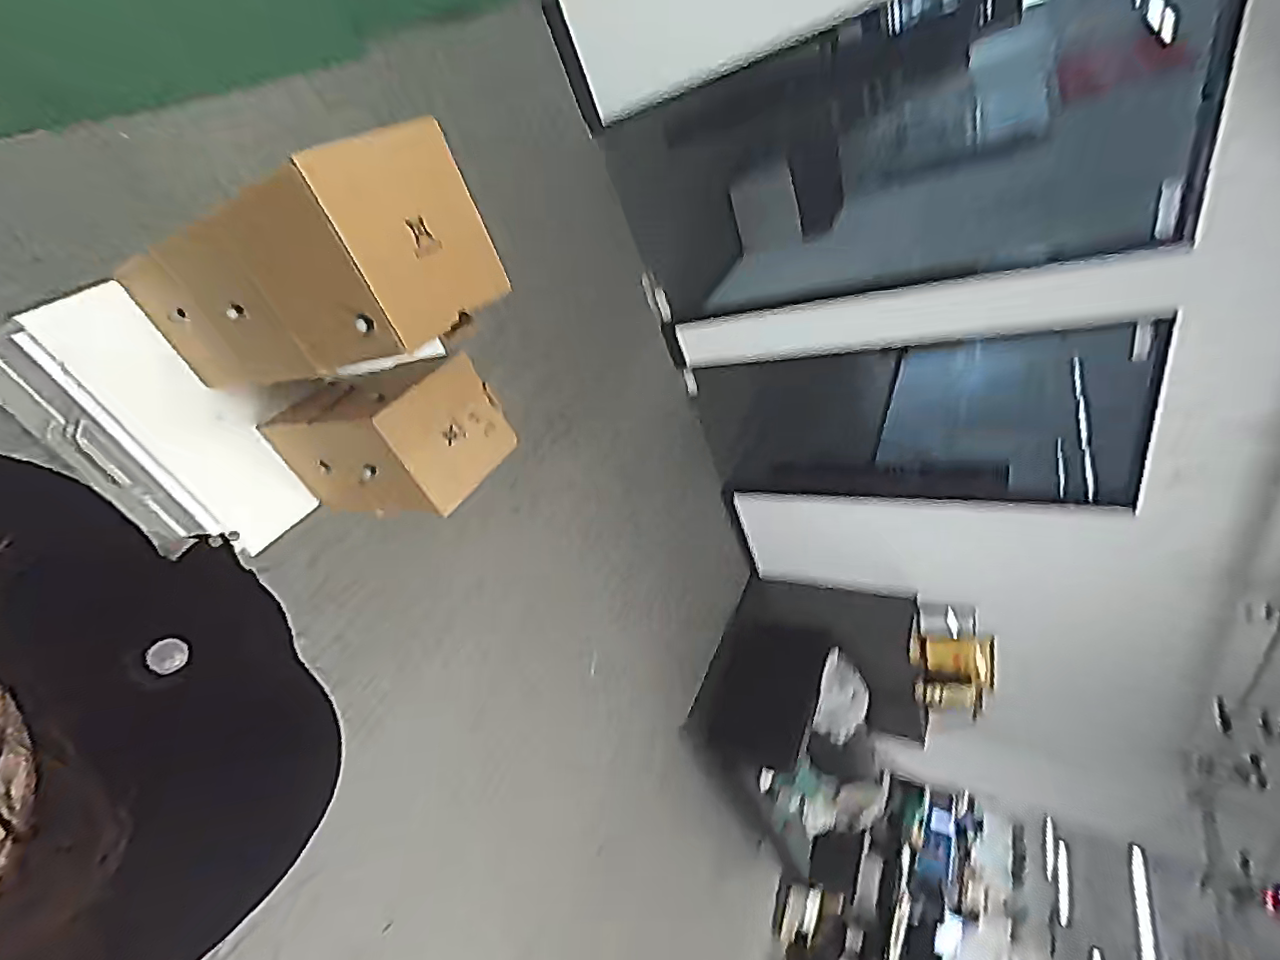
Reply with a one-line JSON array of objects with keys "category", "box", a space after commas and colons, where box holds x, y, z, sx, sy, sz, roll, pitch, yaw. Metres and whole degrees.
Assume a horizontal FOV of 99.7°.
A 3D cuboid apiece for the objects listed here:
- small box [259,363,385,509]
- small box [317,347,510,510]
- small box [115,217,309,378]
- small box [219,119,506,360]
[{"category": "small box", "box": [-0.472, -0.070, 0.889, 0.168, 0.176, 0.179, -53, 133, -40]}, {"category": "small box", "box": [-0.335, -0.073, 0.796, 0.179, 0.176, 0.168, -56, 134, -39]}, {"category": "small box", "box": [-0.558, -0.255, 0.750, 0.168, 0.176, 0.179, -53, 135, -40]}, {"category": "small box", "box": [-0.284, -0.244, 0.570, 0.168, 0.176, 0.179, -54, 135, -41]}]
